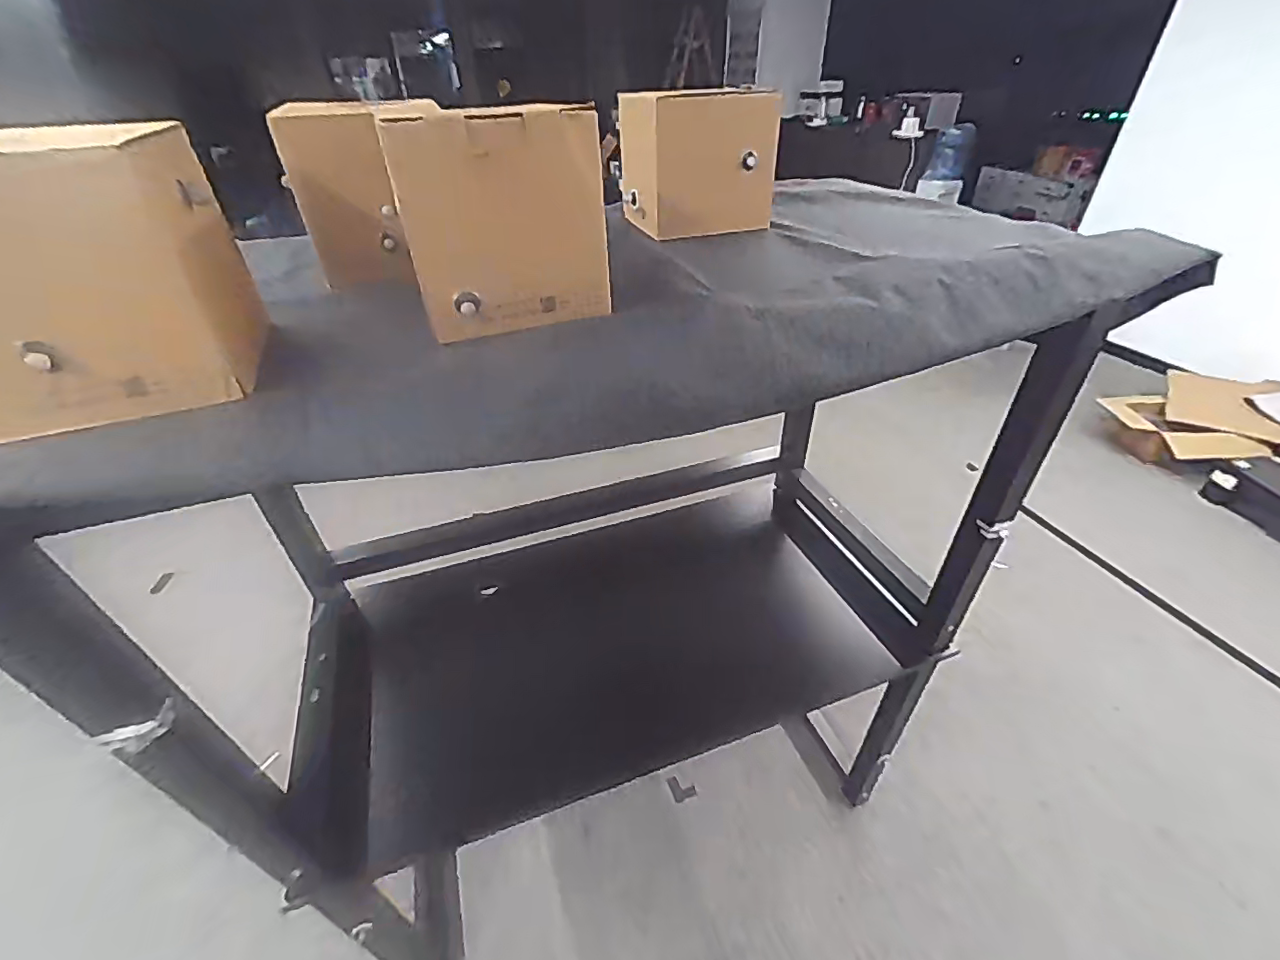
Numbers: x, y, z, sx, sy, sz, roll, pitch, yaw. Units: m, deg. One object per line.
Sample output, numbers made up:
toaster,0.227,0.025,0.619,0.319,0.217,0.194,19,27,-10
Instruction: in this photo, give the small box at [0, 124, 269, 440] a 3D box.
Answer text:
small box,-0.401,-0.152,0.395,0.168,0.176,0.179,-16,40,-18

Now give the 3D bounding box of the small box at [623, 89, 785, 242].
small box,0.081,-0.453,0.776,0.179,0.176,0.168,-12,38,-14
